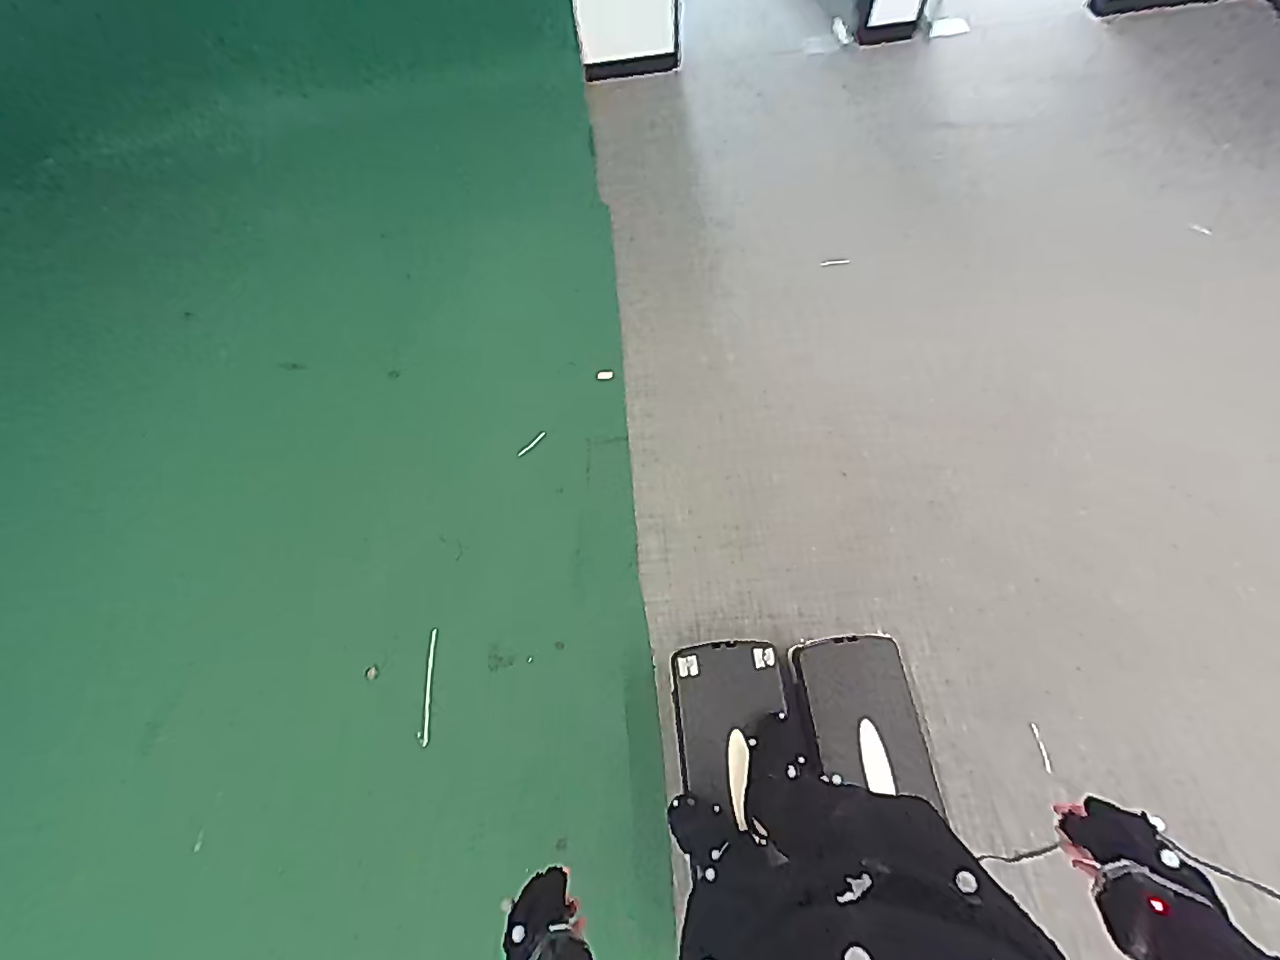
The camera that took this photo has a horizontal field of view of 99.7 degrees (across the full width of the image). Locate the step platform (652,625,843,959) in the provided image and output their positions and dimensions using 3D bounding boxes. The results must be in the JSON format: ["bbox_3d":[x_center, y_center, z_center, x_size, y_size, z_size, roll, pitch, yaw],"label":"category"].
[{"bbox_3d":[0.198,0.670,1.142,0.286,0.204,0.684,-6,66,0],"label":"step platform"}]
